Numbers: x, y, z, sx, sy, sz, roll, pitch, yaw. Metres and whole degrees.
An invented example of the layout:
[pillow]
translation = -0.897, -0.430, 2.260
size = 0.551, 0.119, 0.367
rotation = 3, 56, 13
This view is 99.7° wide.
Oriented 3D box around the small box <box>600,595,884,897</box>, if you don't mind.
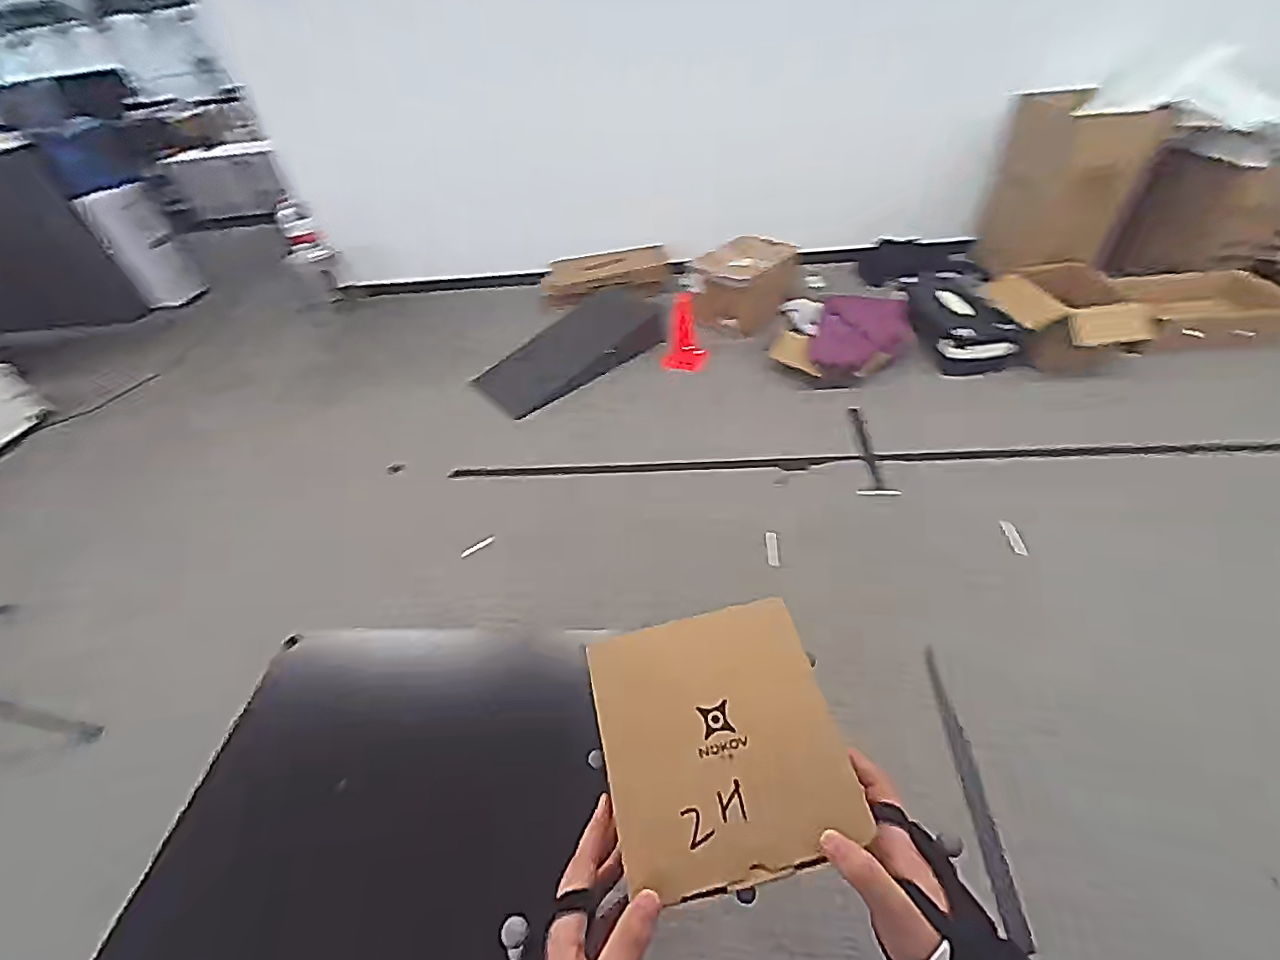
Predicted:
[small box]
translation = 0.066, 0.223, 0.453
size = 0.168, 0.176, 0.179
rotation = -12, 55, -4
